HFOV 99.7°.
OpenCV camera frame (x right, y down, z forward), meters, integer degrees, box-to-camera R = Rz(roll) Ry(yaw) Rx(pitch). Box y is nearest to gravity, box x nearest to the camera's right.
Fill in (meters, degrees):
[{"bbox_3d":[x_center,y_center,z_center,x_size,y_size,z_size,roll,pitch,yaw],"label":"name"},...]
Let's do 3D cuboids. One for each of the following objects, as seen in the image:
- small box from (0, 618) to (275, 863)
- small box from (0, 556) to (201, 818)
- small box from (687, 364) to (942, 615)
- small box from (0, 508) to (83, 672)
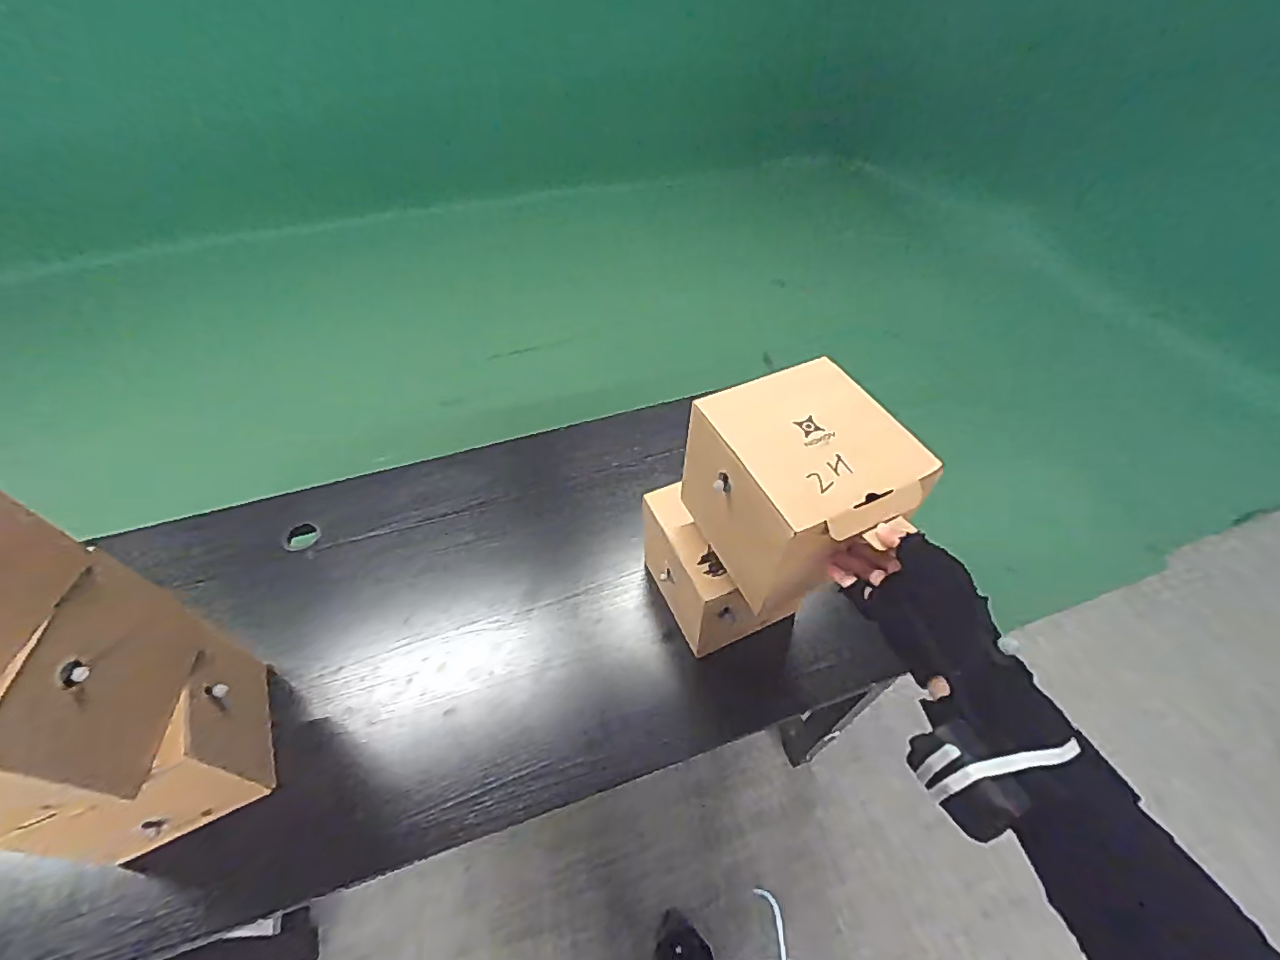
[{"bbox_3d":[-0.544,0.293,0.608,0.168,0.176,0.179,-22,55,-17],"label":"small box"},{"bbox_3d":[-0.548,0.190,0.480,0.168,0.176,0.179,-5,51,-4],"label":"small box"},{"bbox_3d":[0.162,0.012,0.574,0.168,0.176,0.179,-21,56,-16],"label":"small box"},{"bbox_3d":[-0.553,0.083,0.356,0.168,0.176,0.179,4,52,2],"label":"small box"}]
